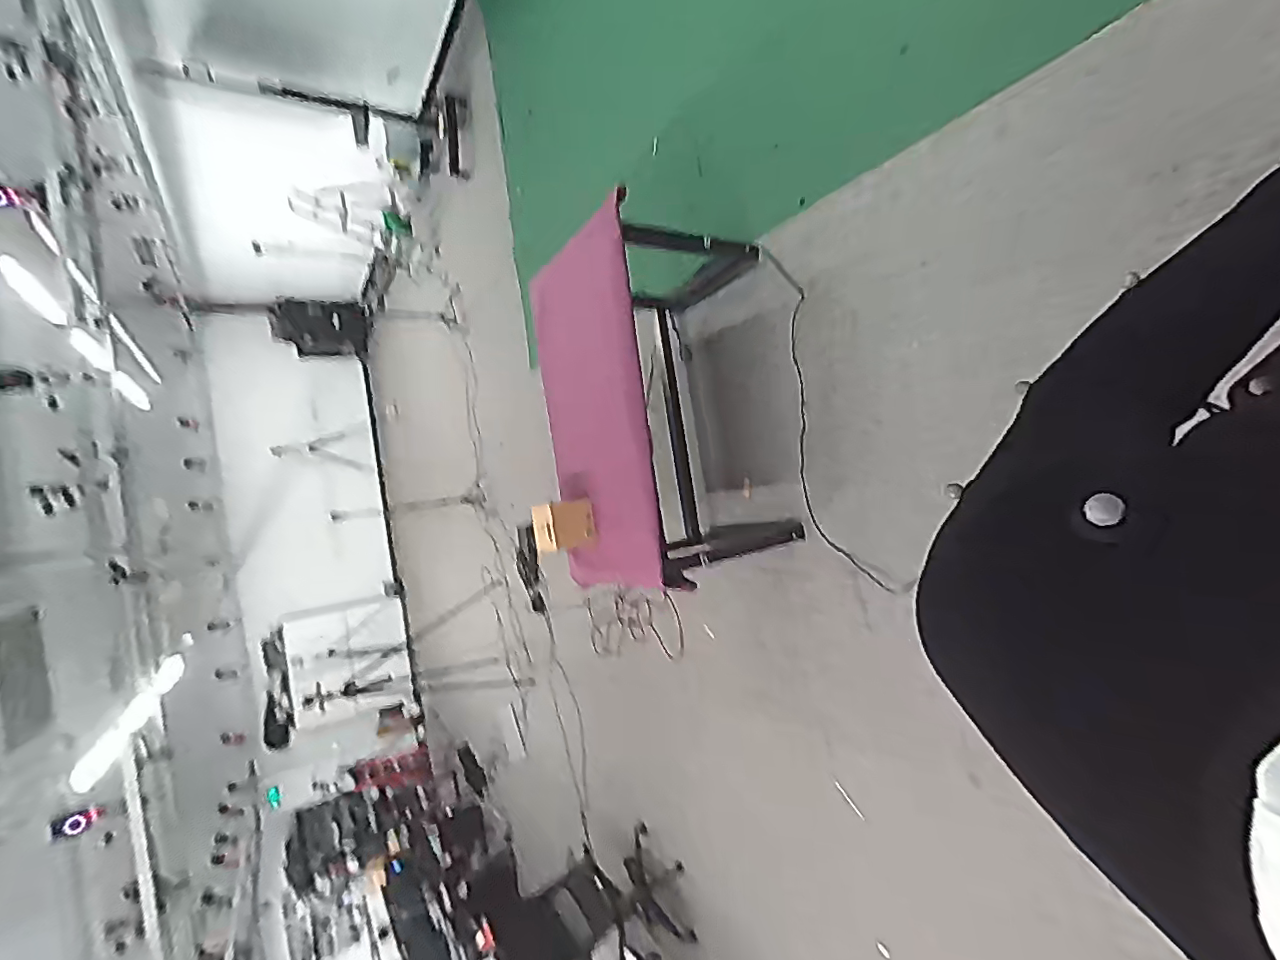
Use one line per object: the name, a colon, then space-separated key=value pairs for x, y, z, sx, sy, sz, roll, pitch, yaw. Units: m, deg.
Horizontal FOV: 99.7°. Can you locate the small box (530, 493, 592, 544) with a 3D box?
small box: x=-0.287 y=0.143 z=2.008 sx=0.179 sy=0.176 sz=0.168 roll=-9 pitch=88 yaw=56
